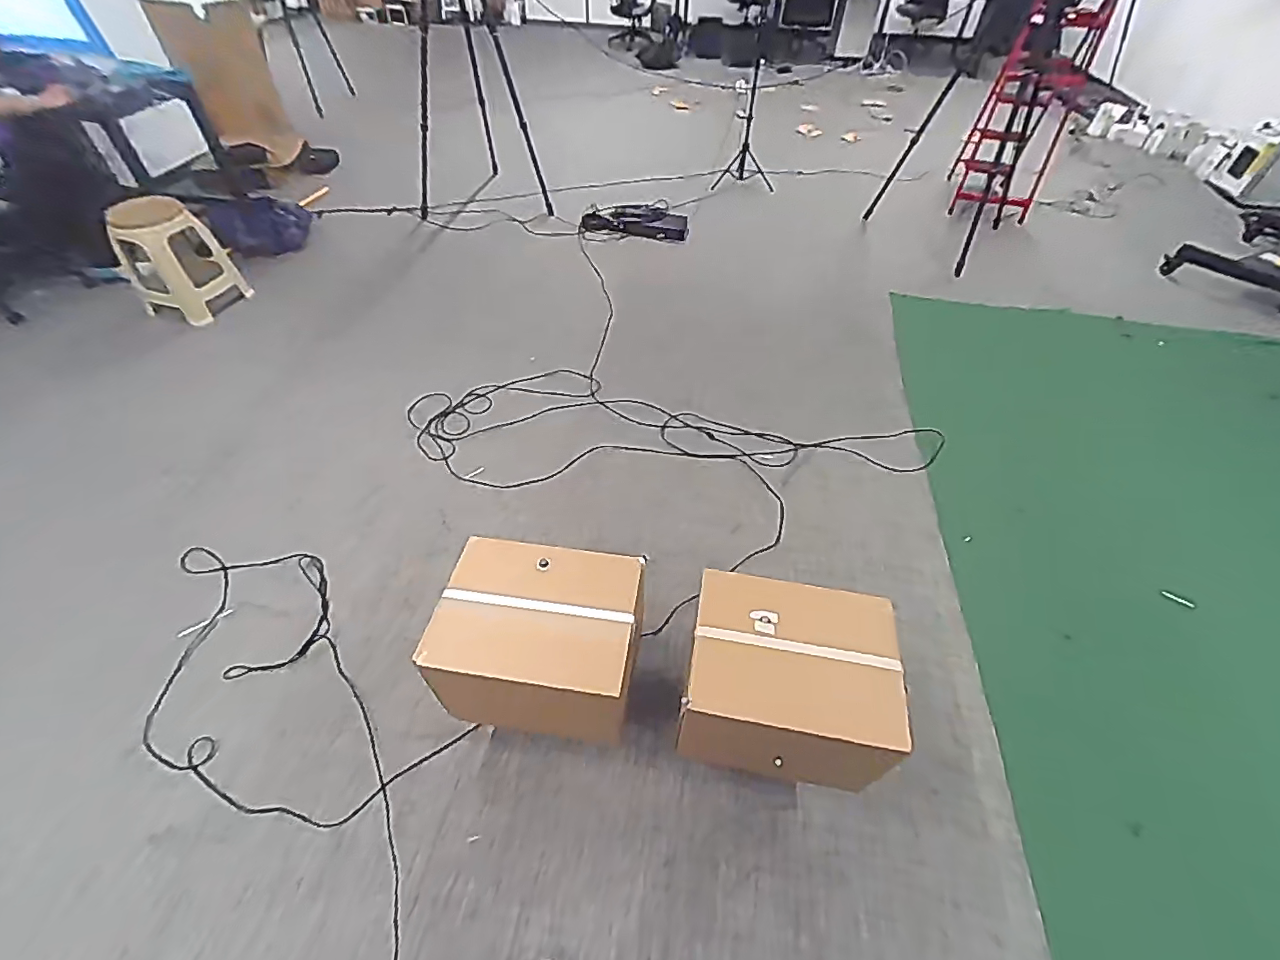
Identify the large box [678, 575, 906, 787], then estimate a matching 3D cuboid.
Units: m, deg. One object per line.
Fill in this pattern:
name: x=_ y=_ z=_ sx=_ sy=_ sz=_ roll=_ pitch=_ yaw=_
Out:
large box: x=0.310 y=0.447 z=1.199 sx=0.408 sy=0.320 sz=0.320 roll=9 pitch=48 yaw=7
